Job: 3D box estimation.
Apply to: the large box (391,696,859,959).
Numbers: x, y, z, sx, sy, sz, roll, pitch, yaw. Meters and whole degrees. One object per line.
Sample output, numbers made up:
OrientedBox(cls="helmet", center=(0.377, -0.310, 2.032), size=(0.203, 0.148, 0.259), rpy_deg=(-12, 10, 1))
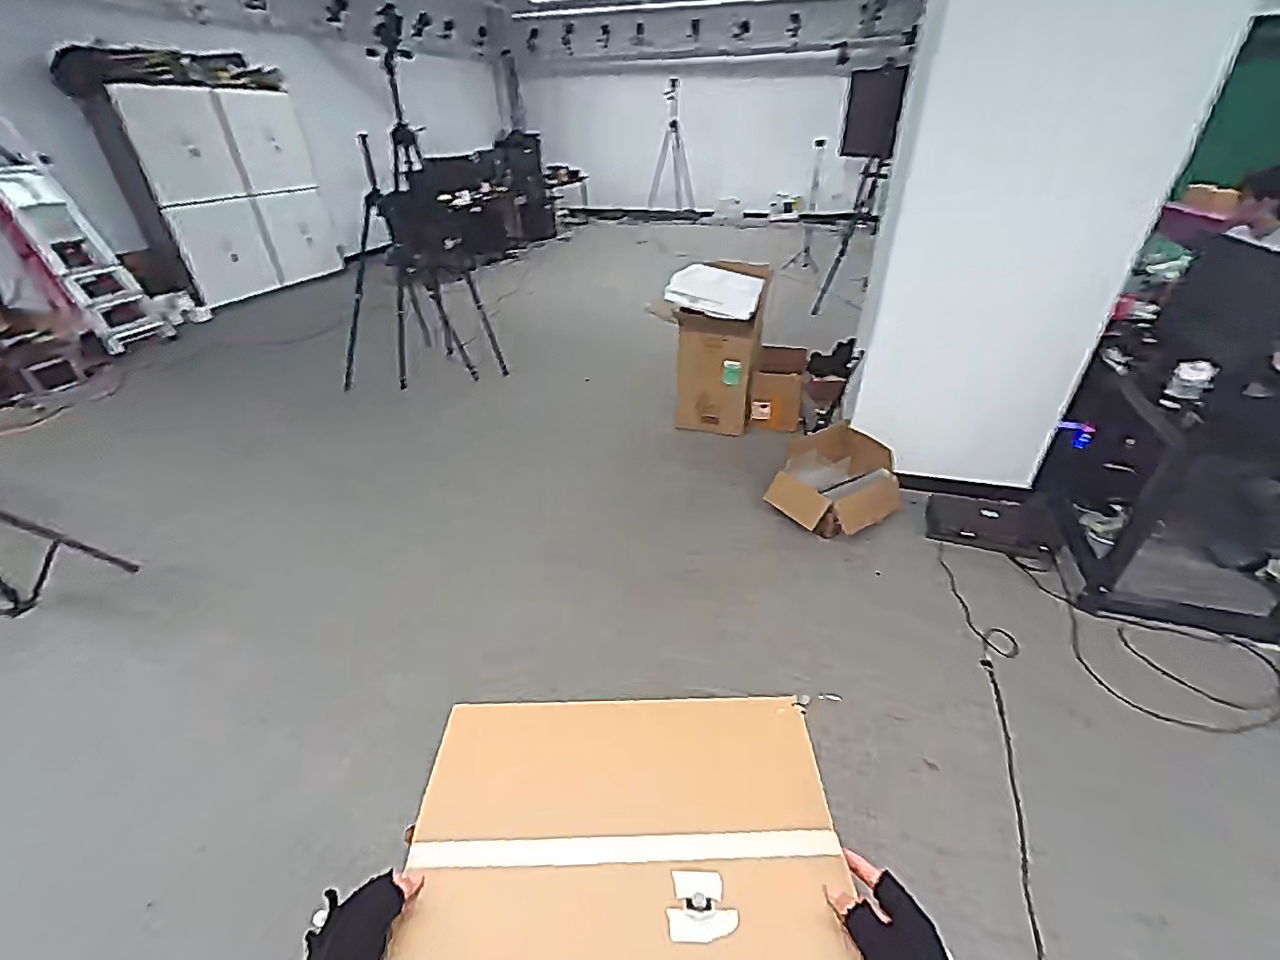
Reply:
OrientedBox(cls="large box", center=(-0.016, 0.479, 0.612), size=(0.408, 0.320, 0.320), rpy_deg=(-2, 35, -1))
